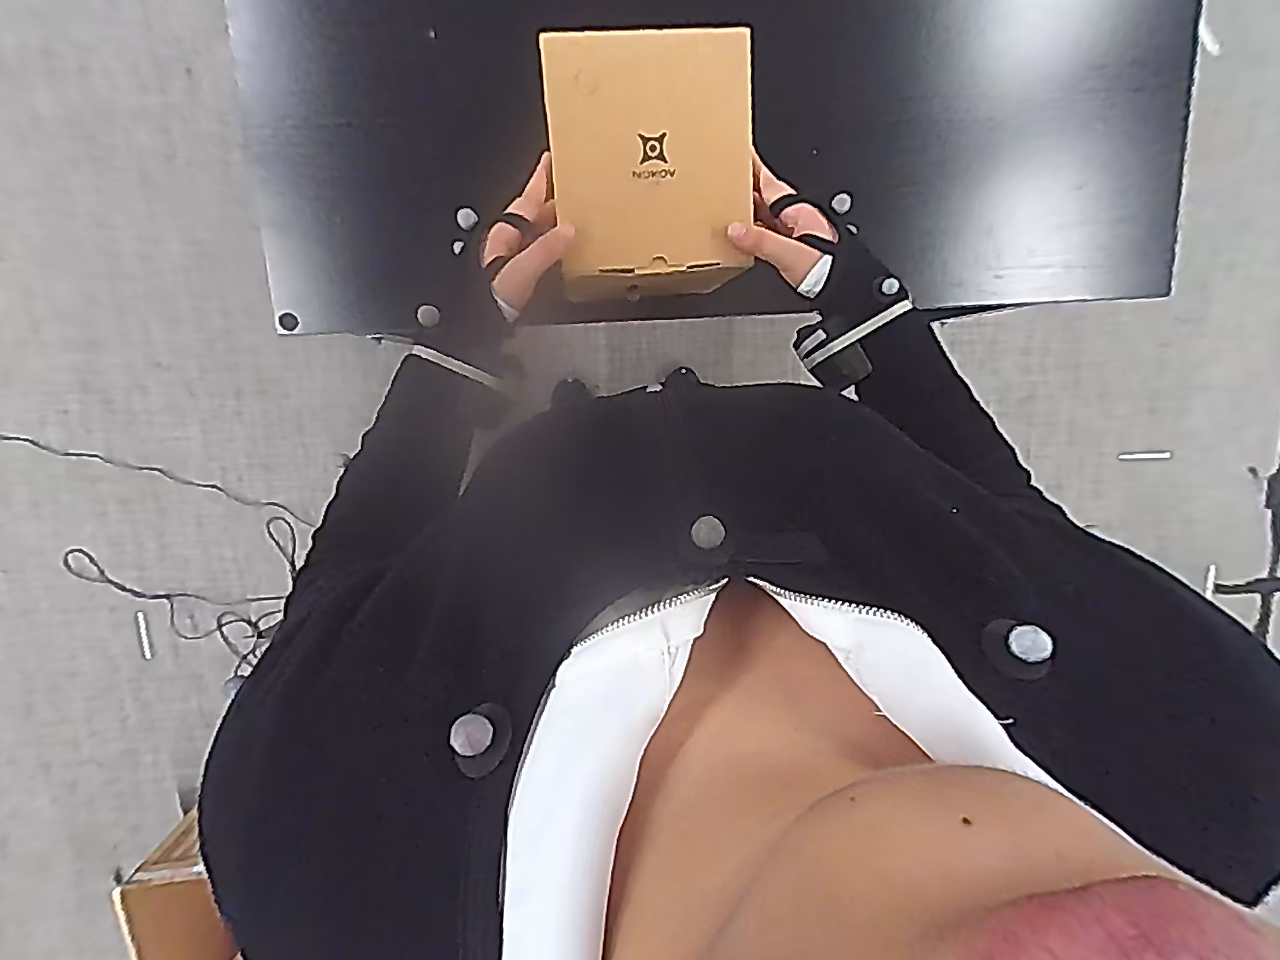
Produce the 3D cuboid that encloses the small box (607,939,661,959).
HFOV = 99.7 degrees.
[{"bbox_3d":[-0.017,1.542,1.643,0.168,0.176,0.179,1,98,-4],"label":"small box"}]

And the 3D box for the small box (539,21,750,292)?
[{"bbox_3d":[-0.001,-0.283,0.510,0.168,0.176,0.179,-5,103,-4],"label":"small box"}]
